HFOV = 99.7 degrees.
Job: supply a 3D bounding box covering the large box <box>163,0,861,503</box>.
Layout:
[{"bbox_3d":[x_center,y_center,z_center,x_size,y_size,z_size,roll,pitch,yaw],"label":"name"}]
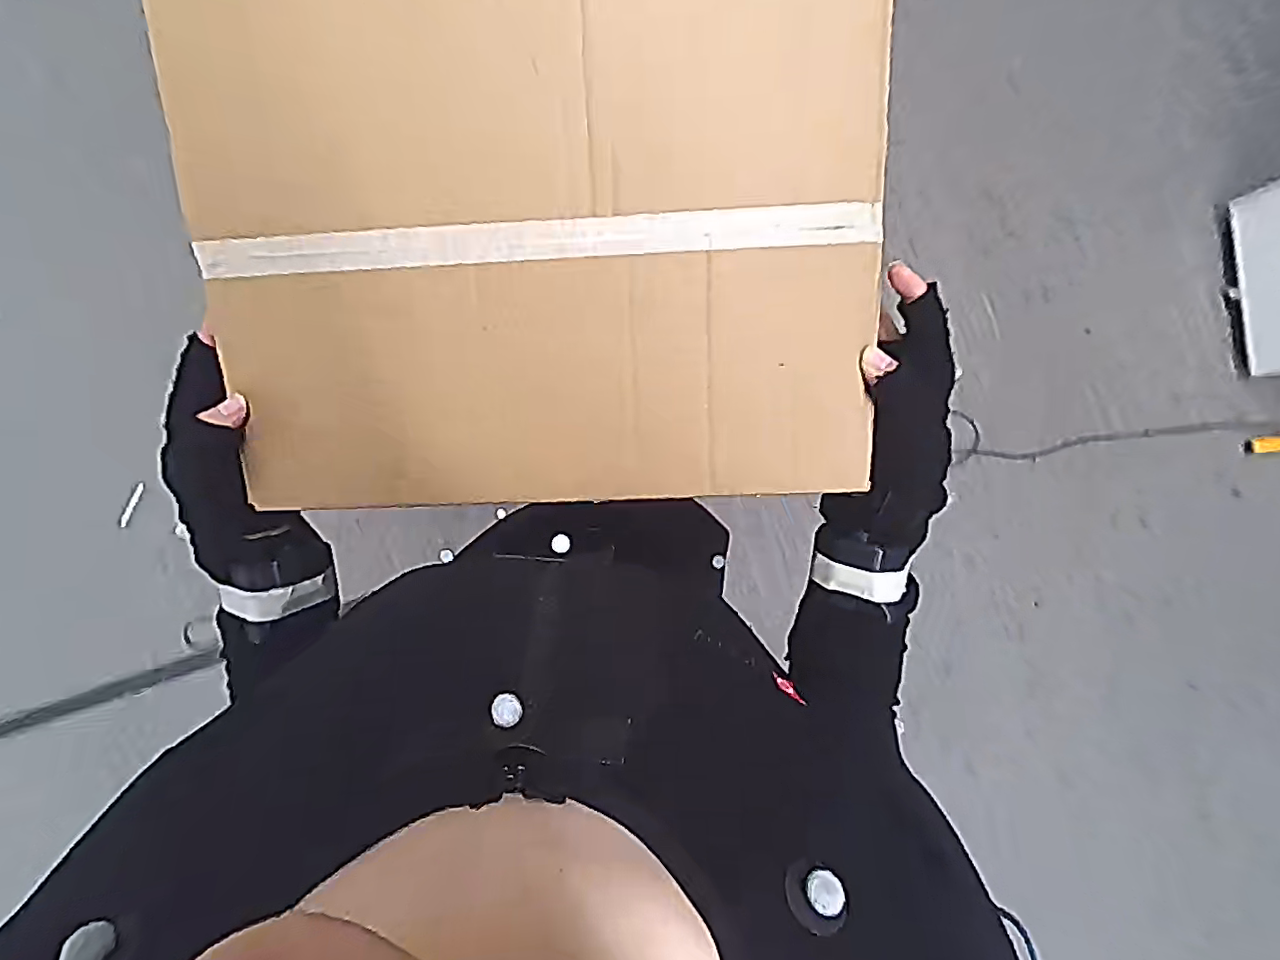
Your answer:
[{"bbox_3d":[-0.064,-0.178,0.476,0.408,0.320,0.320,-3,103,2],"label":"large box"}]
